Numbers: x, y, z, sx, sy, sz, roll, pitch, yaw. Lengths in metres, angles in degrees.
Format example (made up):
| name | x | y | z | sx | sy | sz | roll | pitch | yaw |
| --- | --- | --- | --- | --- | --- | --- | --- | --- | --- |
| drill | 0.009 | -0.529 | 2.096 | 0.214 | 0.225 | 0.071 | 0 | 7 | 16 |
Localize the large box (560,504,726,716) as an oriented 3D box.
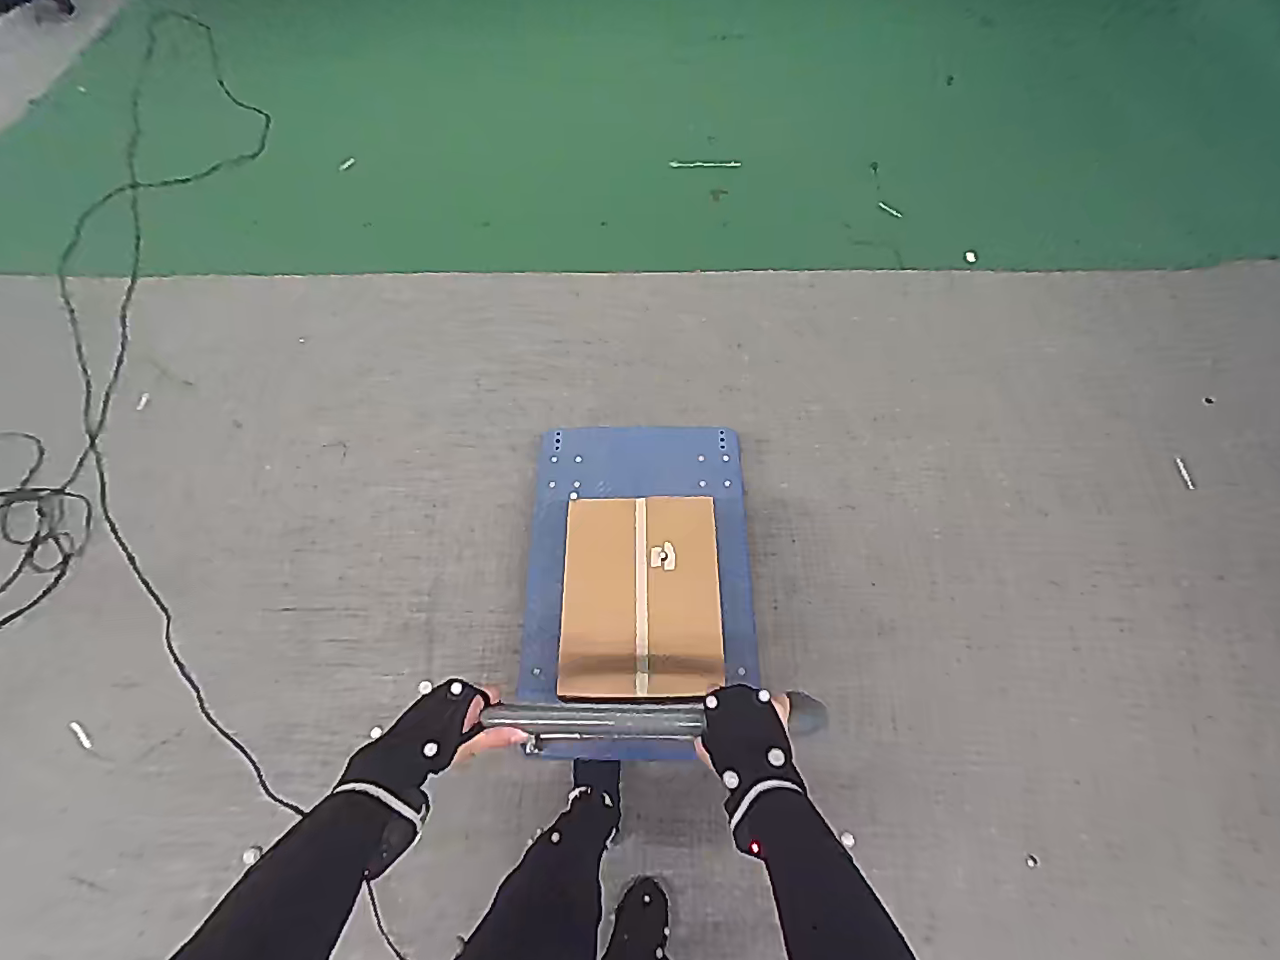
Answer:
| name | x | y | z | sx | sy | sz | roll | pitch | yaw |
| --- | --- | --- | --- | --- | --- | --- | --- | --- | --- |
| large box | 0.009 | 0.303 | 1.222 | 0.320 | 0.320 | 0.408 | -1 | 62 | 1 |
